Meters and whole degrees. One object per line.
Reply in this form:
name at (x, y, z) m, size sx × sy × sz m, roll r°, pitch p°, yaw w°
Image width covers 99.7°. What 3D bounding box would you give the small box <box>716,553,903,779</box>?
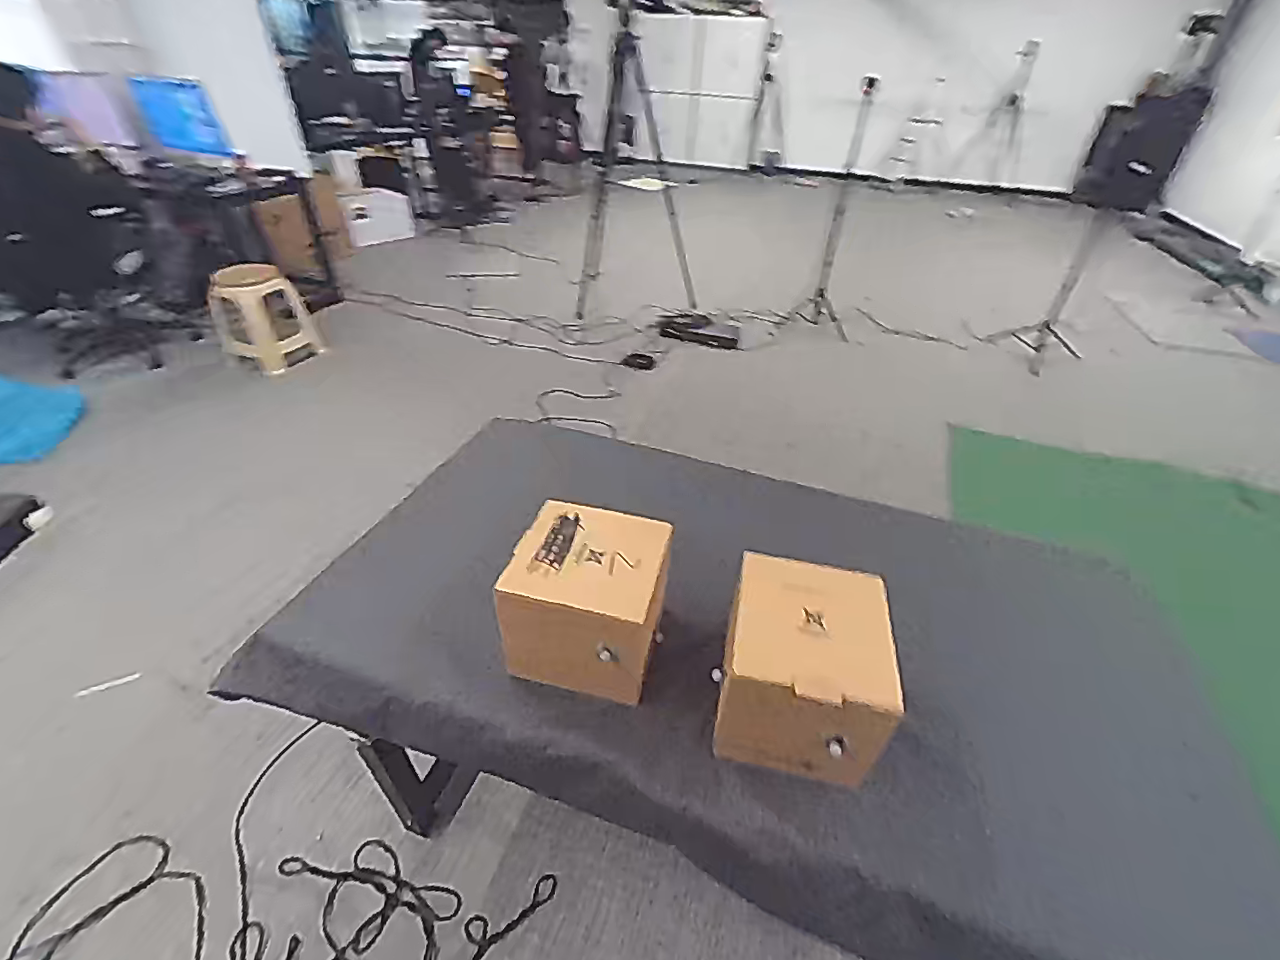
small box at (0.186, 0.217, 0.637) m, size 0.168 × 0.176 × 0.179 m, roll 10°, pitch 37°, yaw 8°
